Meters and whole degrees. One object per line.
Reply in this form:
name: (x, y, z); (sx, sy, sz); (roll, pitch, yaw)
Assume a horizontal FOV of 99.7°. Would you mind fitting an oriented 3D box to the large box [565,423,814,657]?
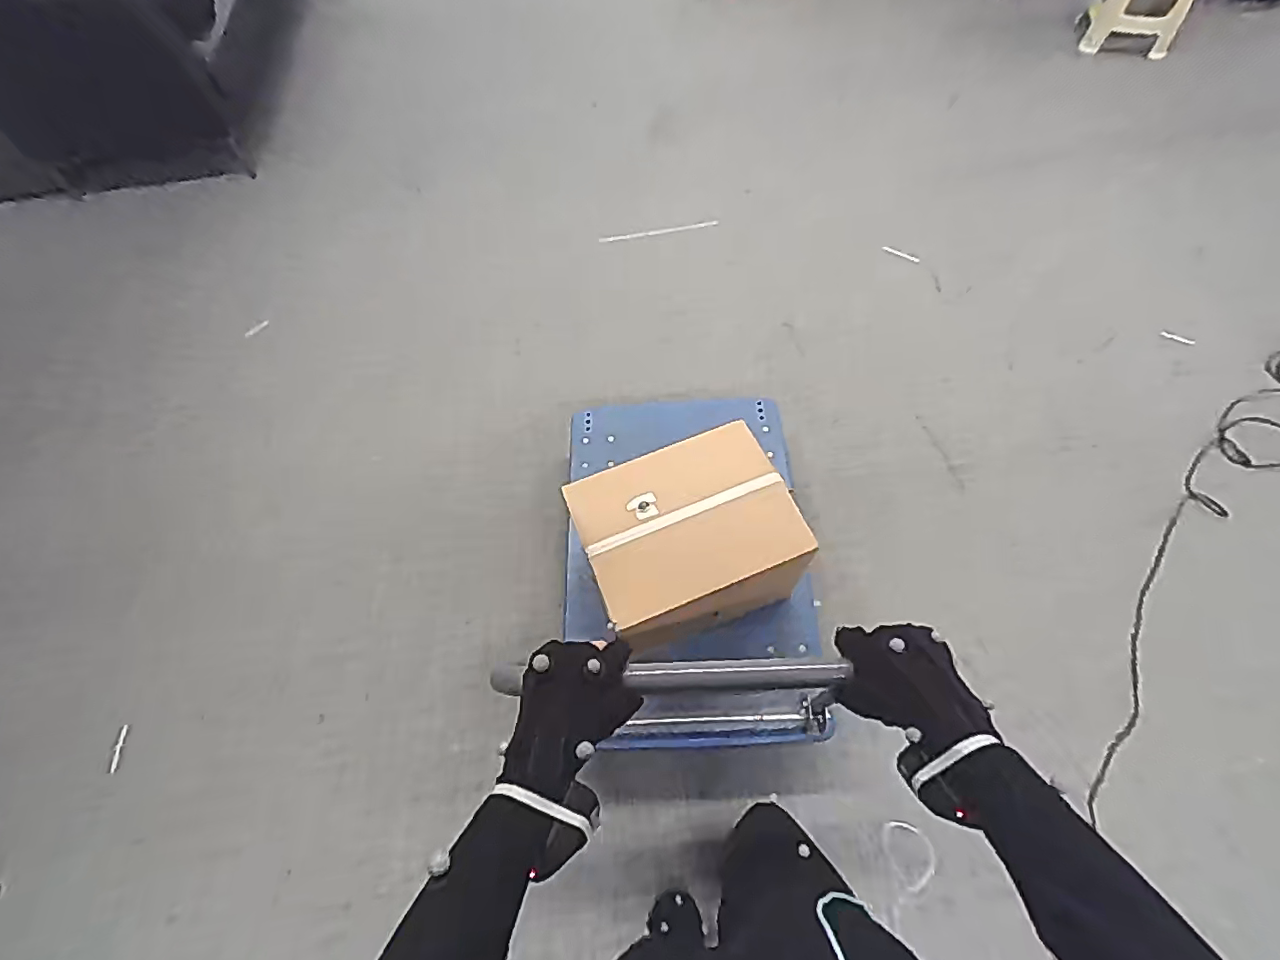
large box: (0.097, 0.140, 1.172); (0.408, 0.320, 0.320); (-21, 62, -6)
